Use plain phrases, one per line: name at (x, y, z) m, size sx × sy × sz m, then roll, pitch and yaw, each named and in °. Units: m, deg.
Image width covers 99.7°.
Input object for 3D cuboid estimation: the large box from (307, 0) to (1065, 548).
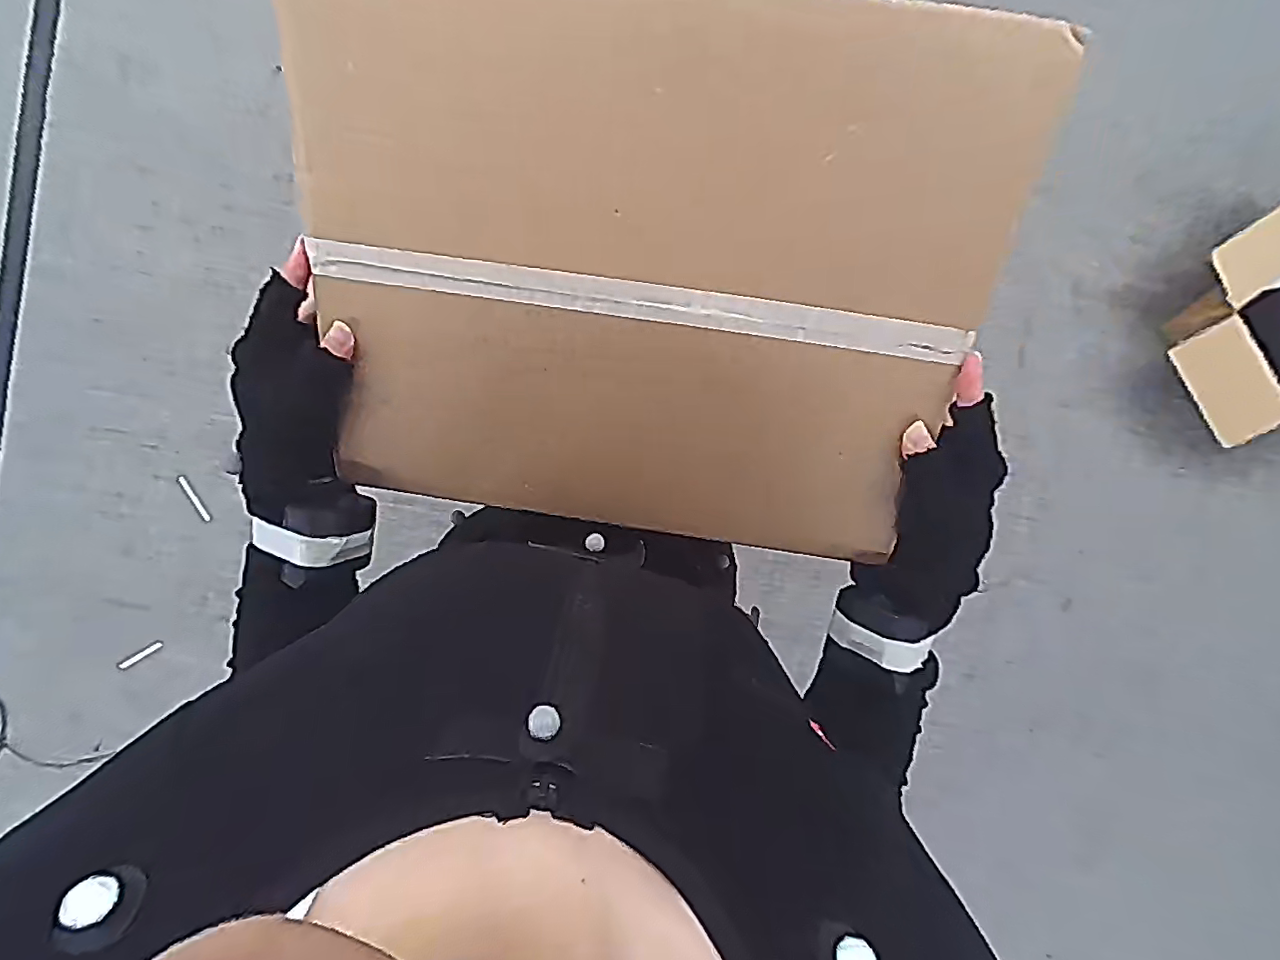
large box at (0.012, -0.174, 0.473) m, size 0.408 × 0.320 × 0.320 m, roll 9°, pitch 116°, yaw 1°
